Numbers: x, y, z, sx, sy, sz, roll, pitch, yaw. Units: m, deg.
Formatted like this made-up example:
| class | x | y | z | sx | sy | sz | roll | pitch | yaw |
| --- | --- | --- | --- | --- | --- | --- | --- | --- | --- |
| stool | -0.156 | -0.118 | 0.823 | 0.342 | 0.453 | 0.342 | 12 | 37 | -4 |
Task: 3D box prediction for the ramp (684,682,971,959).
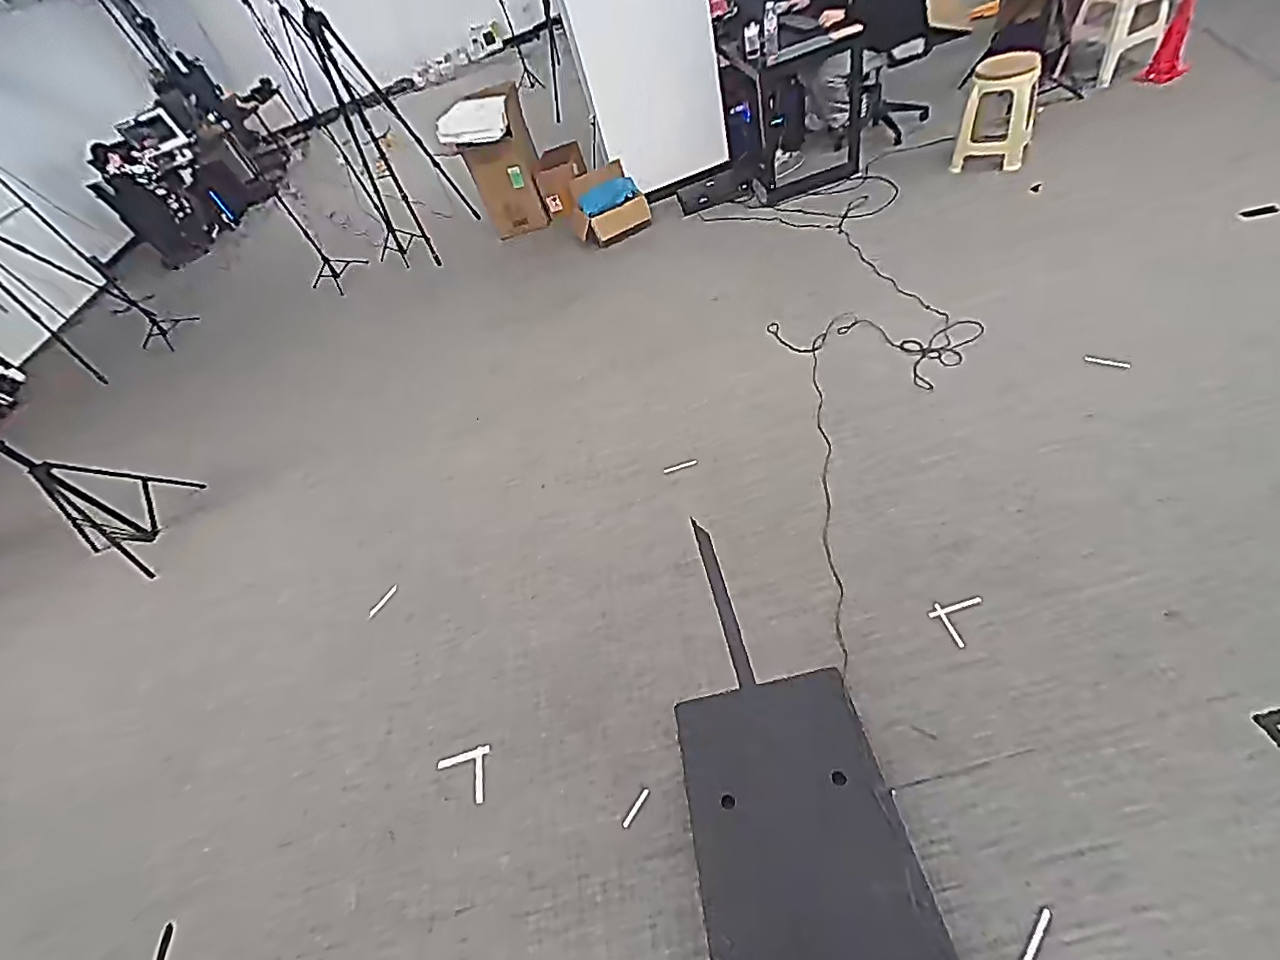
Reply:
| class | x | y | z | sx | sy | sz | roll | pitch | yaw |
| --- | --- | --- | --- | --- | --- | --- | --- | --- | --- |
| ramp | 0.405 | 0.941 | 1.179 | 0.509 | 0.206 | 0.991 | -20 | 45 | 5 |
